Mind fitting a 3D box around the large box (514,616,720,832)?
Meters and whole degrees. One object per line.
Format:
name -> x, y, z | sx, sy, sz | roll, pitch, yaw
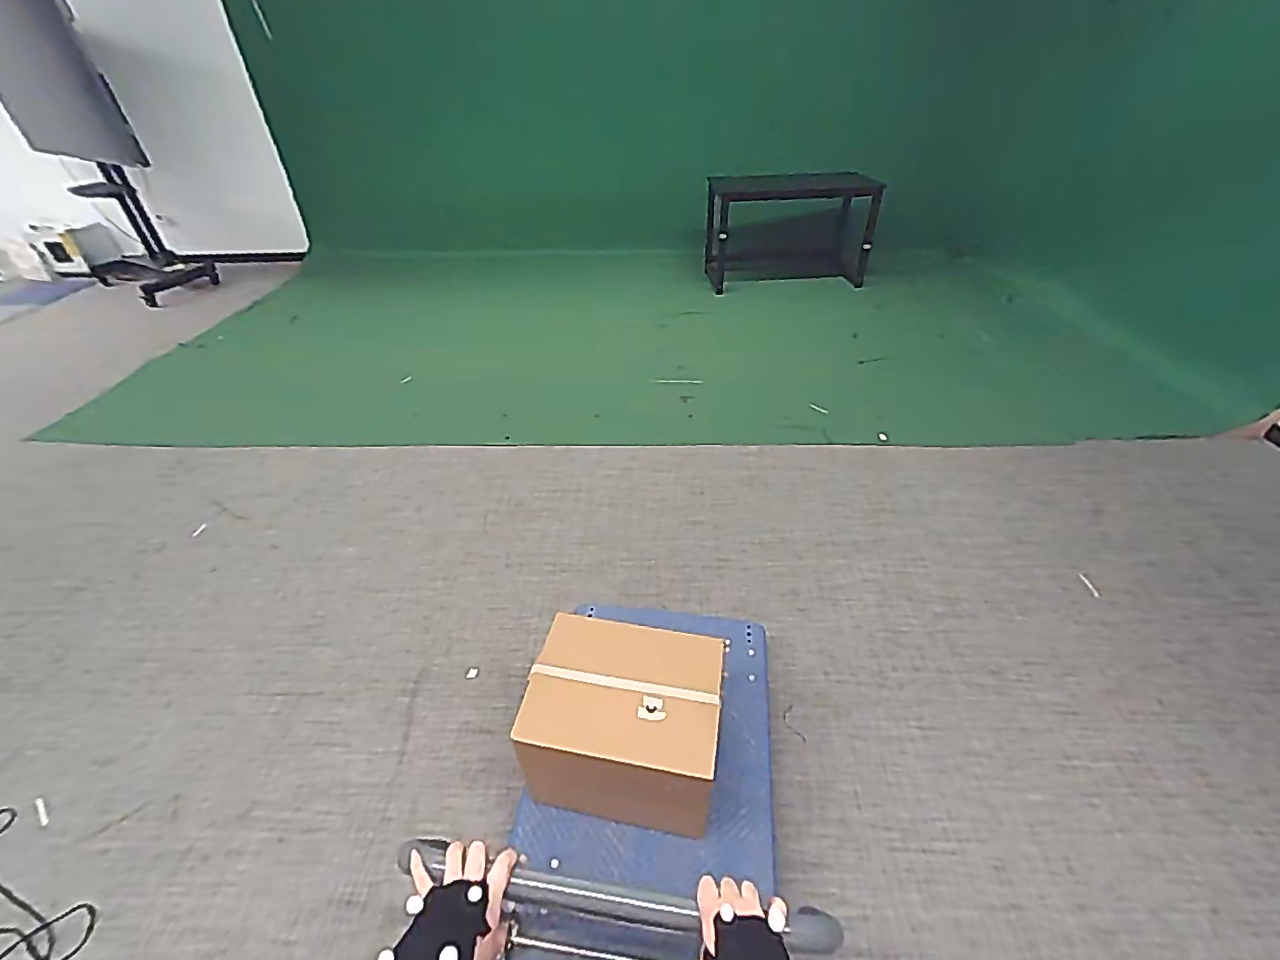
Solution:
large box -> -0.038, 0.561, 1.261 | 0.408, 0.320, 0.320 | 7, 39, 8
